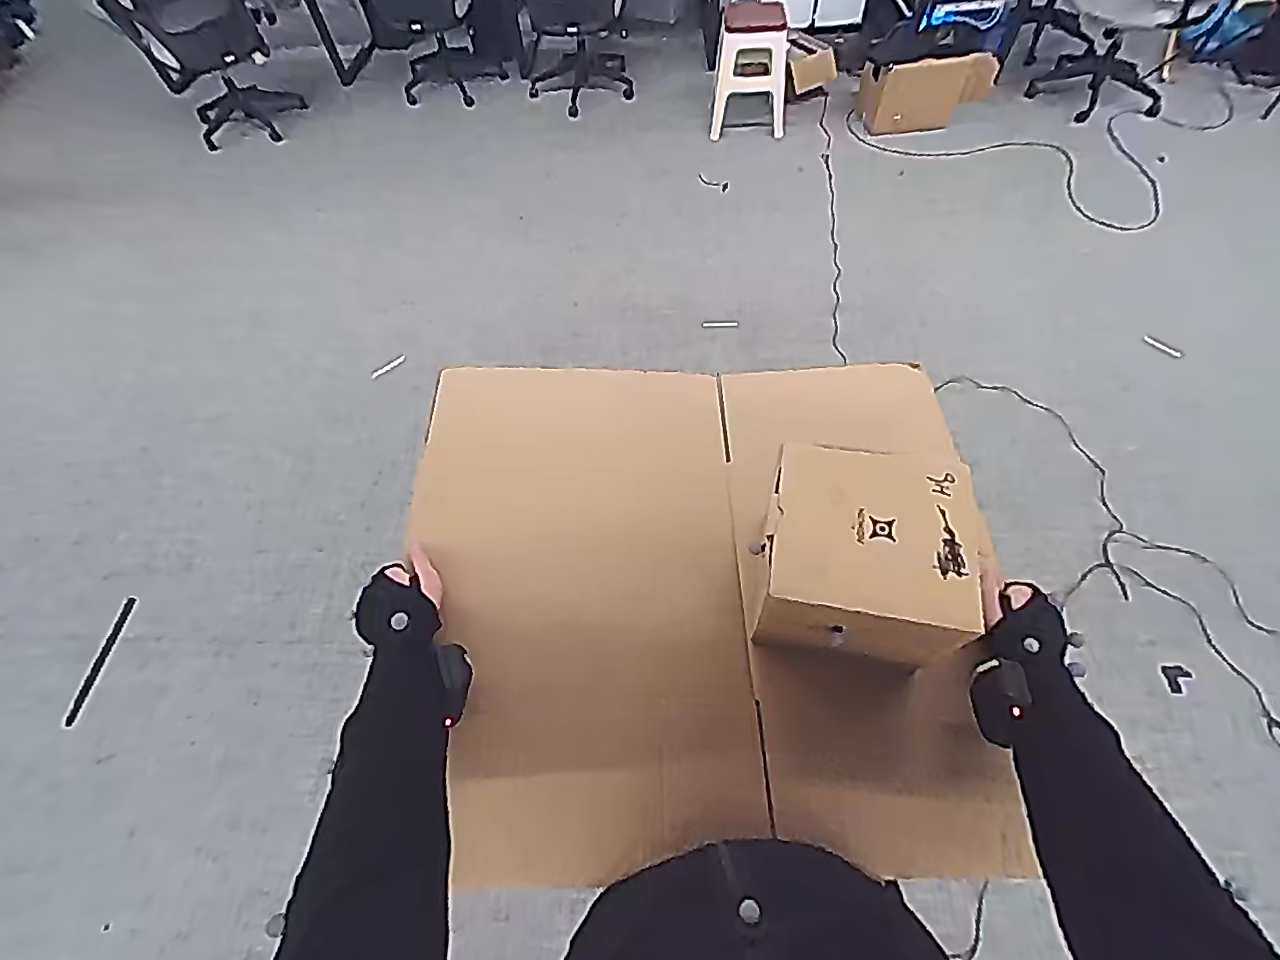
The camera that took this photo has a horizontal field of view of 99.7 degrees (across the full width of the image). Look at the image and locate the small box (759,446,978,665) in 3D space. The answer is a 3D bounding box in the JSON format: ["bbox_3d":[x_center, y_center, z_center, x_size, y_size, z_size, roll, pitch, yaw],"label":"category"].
[{"bbox_3d":[0.223,0.084,0.569,0.179,0.176,0.168,7,62,12],"label":"small box"}]
